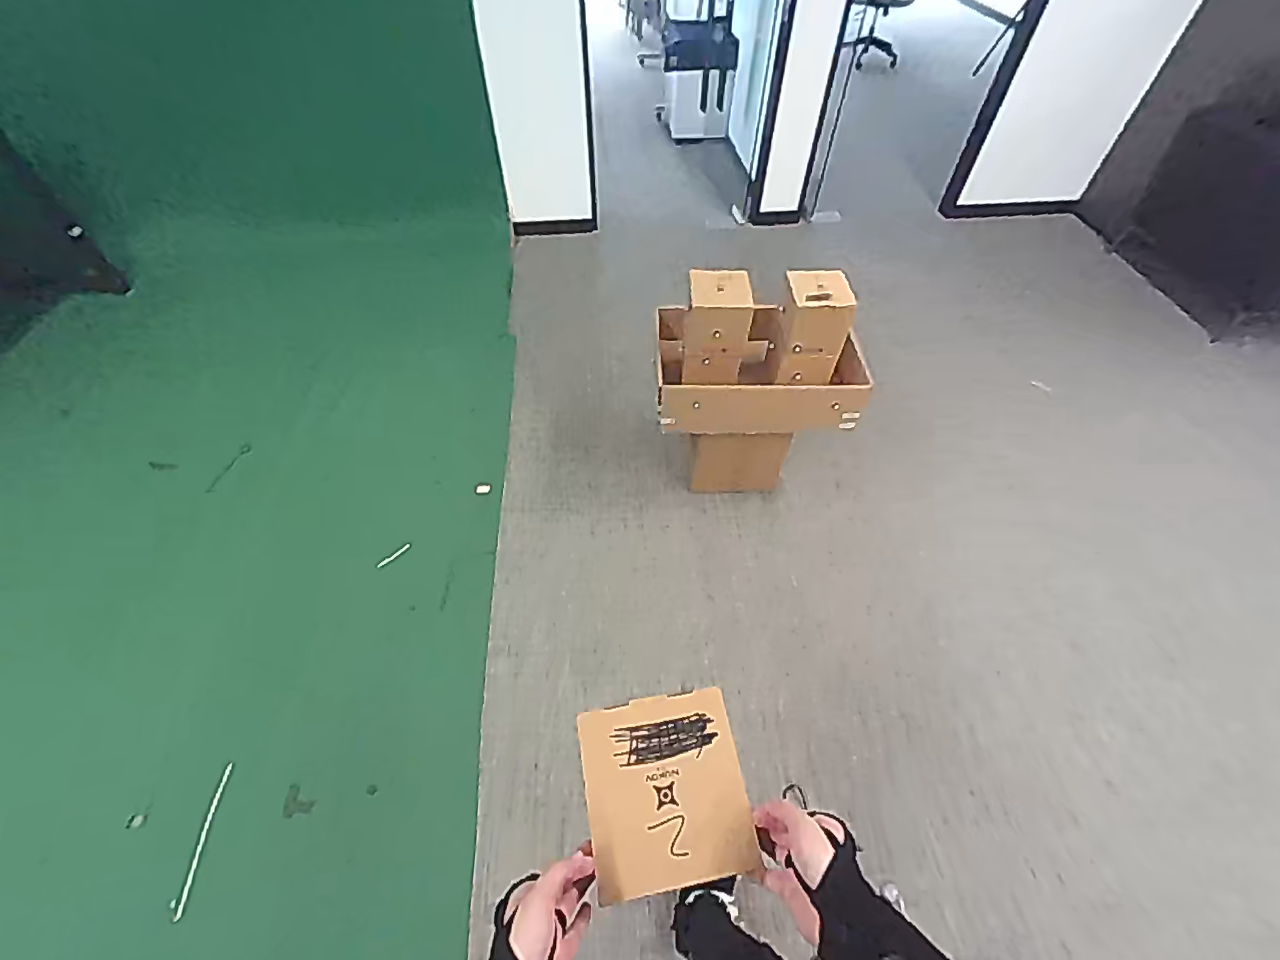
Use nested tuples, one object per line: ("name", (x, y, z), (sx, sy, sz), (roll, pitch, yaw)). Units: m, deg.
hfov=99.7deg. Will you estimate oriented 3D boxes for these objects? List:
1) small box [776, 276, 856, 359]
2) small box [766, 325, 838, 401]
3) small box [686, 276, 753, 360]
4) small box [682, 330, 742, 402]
("small box", (0.498, -0.465, 1.554), (0.168, 0.176, 0.179), (0, 51, -1))
("small box", (0.497, -0.361, 1.682), (0.168, 0.176, 0.179), (0, 51, 0))
("small box", (0.222, -0.462, 1.548), (0.168, 0.176, 0.179), (1, 52, 0))
("small box", (0.218, -0.366, 1.682), (0.168, 0.176, 0.179), (1, 51, 2))
